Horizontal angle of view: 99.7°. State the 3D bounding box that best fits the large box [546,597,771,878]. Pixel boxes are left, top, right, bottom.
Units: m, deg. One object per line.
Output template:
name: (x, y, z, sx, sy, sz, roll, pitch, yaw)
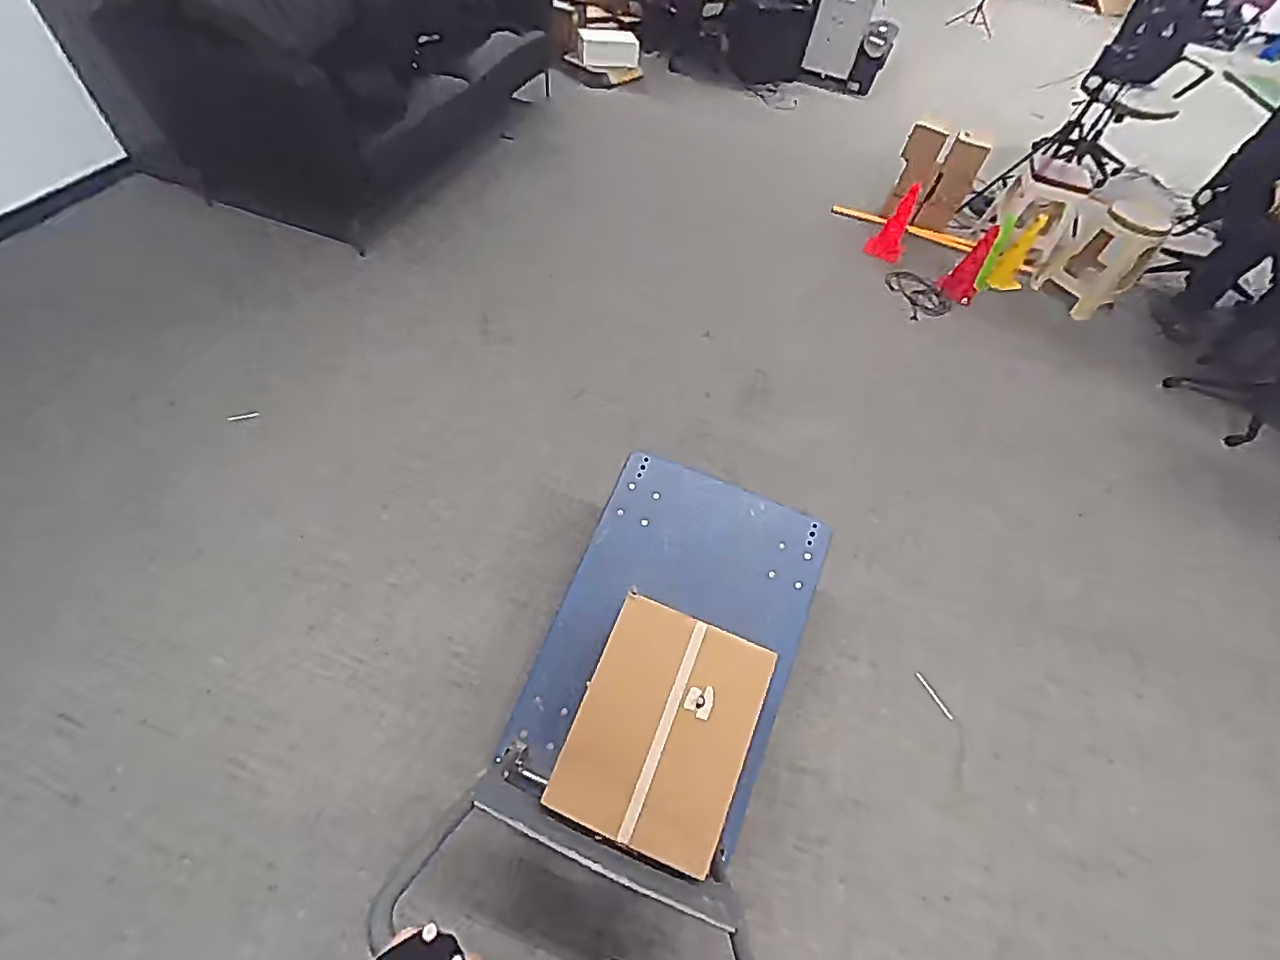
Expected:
large box: (0.042, 0.510, 1.141, 0.320, 0.320, 0.408, 22, 71, 6)
